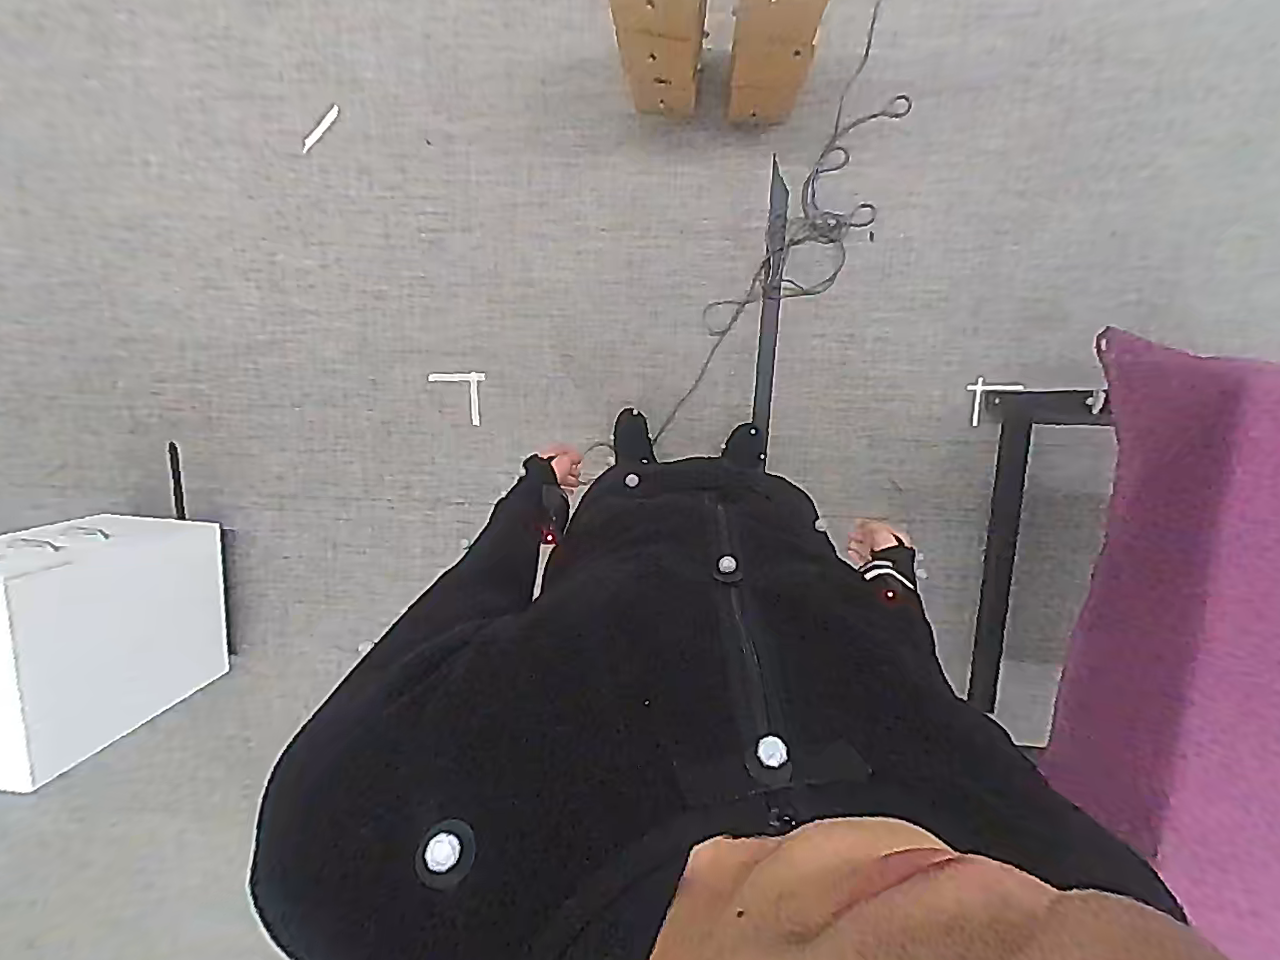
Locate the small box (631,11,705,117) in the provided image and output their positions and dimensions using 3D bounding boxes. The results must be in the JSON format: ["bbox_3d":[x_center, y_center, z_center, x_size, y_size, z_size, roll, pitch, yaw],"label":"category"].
[{"bbox_3d":[0.068,-1.074,1.384,0.168,0.176,0.179,8,99,4],"label":"small box"}]

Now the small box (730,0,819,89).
[{"bbox_3d":[0.300,-1.014,1.214,0.179,0.176,0.168,5,99,3],"label":"small box"}]

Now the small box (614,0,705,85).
[{"bbox_3d":[0.049,-1.036,1.225,0.179,0.176,0.168,12,99,3],"label":"small box"}]

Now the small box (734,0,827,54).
[{"bbox_3d":[0.286,-0.988,1.053,0.168,0.176,0.179,12,98,2],"label":"small box"}]

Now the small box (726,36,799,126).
[{"bbox_3d":[0.312,-1.038,1.374,0.168,0.176,0.179,3,99,4],"label":"small box"}]
